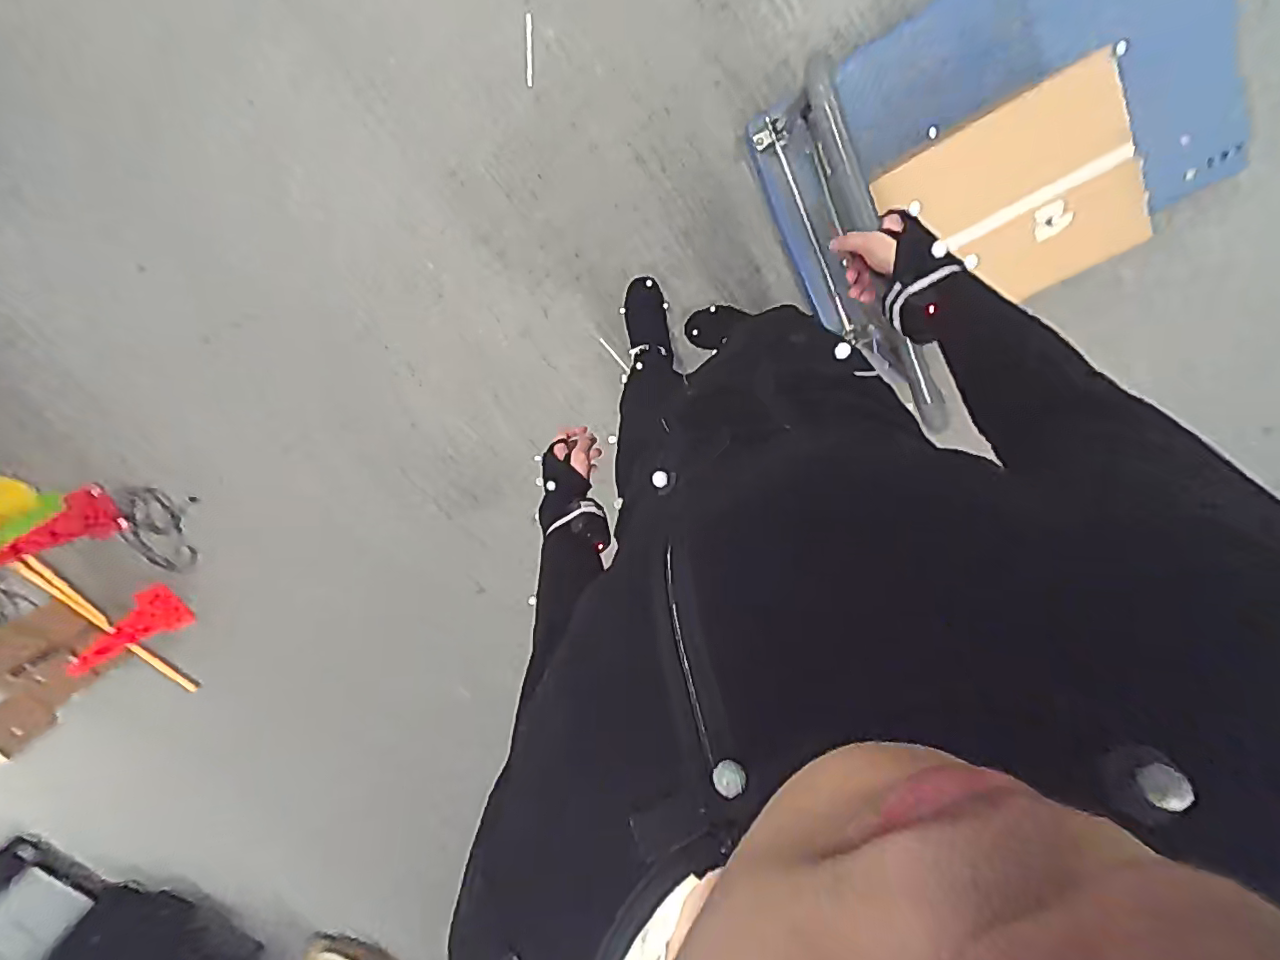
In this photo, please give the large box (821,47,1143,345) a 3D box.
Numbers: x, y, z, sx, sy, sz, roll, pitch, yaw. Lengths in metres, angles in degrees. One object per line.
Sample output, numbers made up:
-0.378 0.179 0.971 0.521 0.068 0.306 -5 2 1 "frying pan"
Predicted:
0.634 -0.524 1.074 0.408 0.320 0.320 -26 109 16 "large box"
